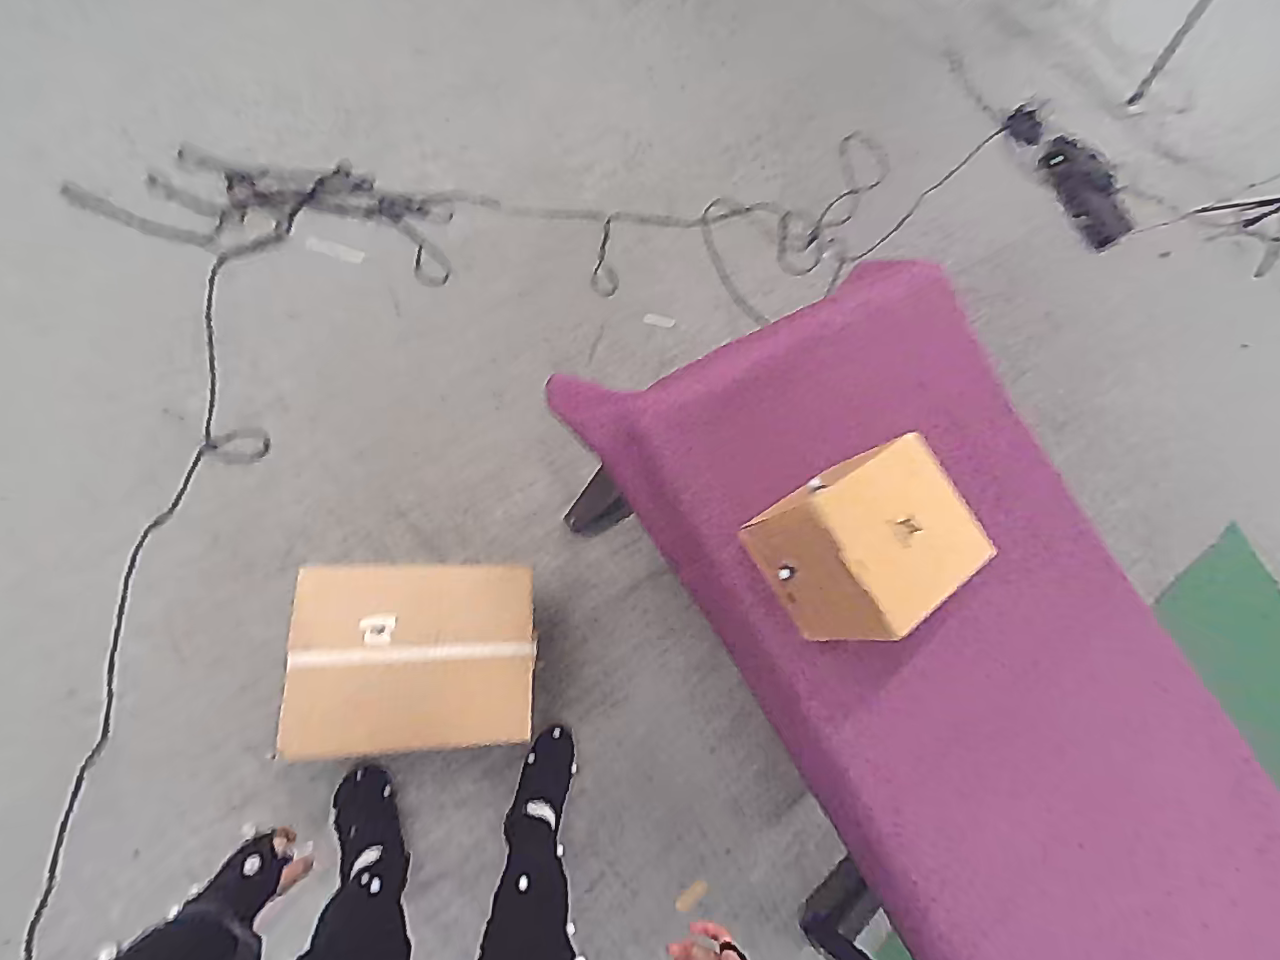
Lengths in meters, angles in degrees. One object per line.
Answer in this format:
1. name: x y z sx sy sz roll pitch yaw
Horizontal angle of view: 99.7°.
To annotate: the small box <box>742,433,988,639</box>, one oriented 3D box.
1. small box: 0.257 0.072 0.651 0.179 0.176 0.168 -30 85 -22
